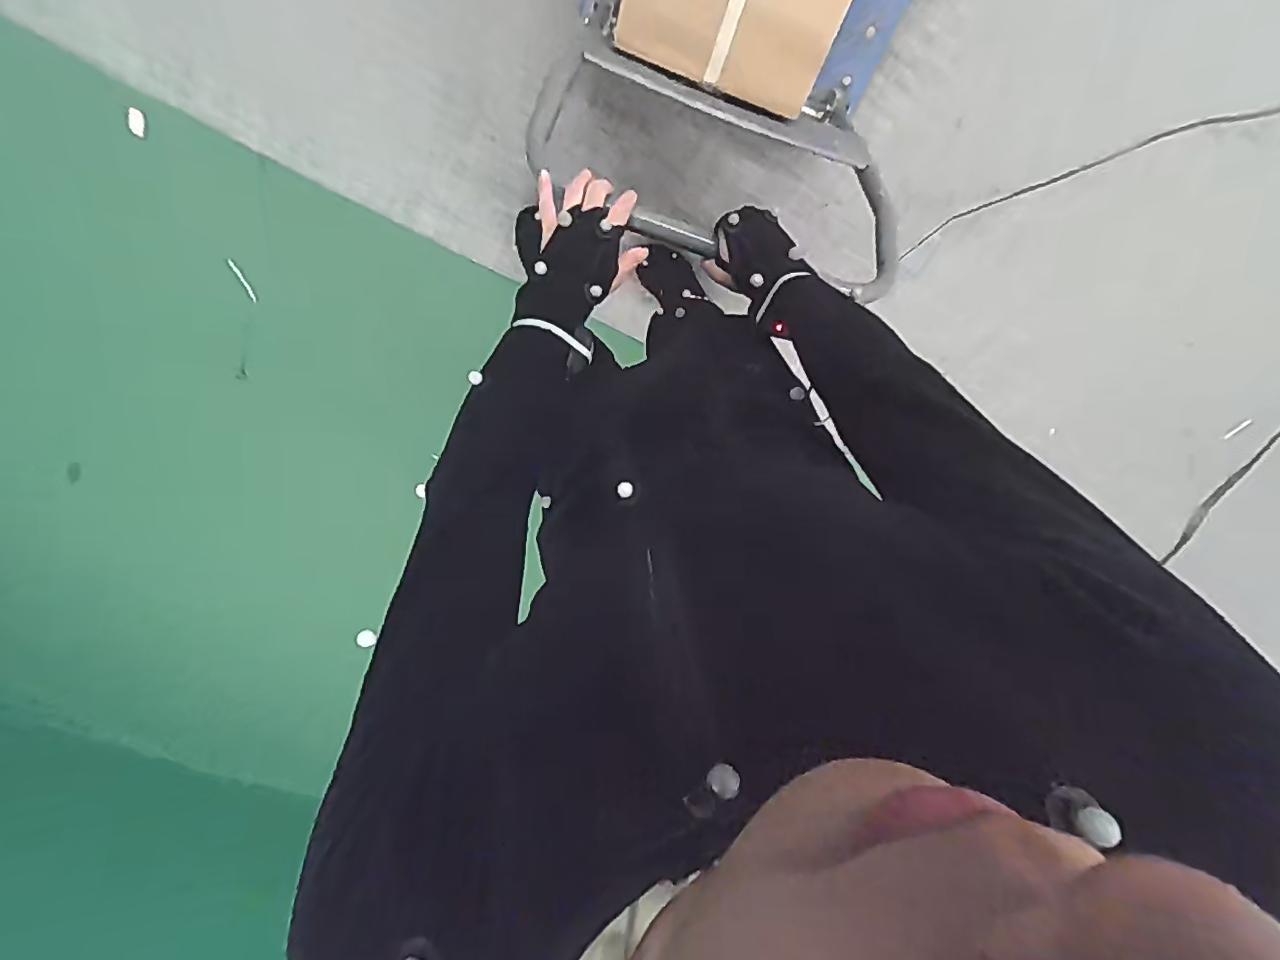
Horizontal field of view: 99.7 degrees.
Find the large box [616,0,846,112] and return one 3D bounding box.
[{"bbox_3d":[0.173,-0.863,0.818,0.320,0.320,0.408,15,135,-10],"label":"large box"}]
